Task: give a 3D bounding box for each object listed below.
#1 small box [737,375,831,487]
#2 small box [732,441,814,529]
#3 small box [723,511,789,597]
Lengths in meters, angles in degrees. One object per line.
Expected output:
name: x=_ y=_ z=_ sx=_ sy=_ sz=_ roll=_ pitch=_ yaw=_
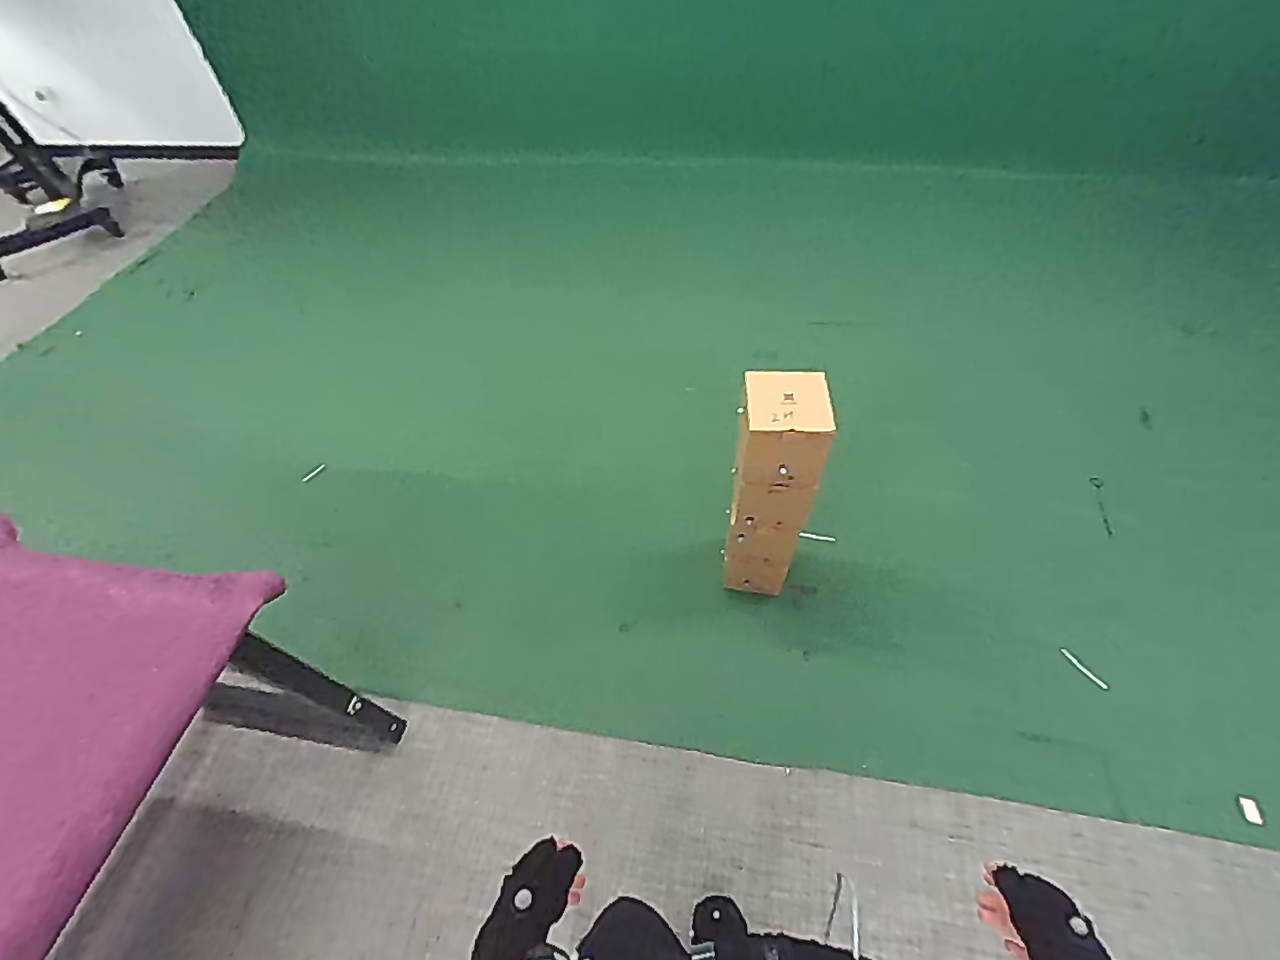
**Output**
small box: x=0.301 y=-0.106 z=1.169 sx=0.168 sy=0.176 sz=0.179 roll=1 pitch=53 yaw=5
small box: x=0.312 y=0.002 z=1.294 sx=0.168 sy=0.176 sz=0.179 roll=2 pitch=52 yaw=5
small box: x=0.329 y=0.212 z=1.546 sx=0.168 sy=0.176 sz=0.179 roll=6 pitch=54 yaw=9
